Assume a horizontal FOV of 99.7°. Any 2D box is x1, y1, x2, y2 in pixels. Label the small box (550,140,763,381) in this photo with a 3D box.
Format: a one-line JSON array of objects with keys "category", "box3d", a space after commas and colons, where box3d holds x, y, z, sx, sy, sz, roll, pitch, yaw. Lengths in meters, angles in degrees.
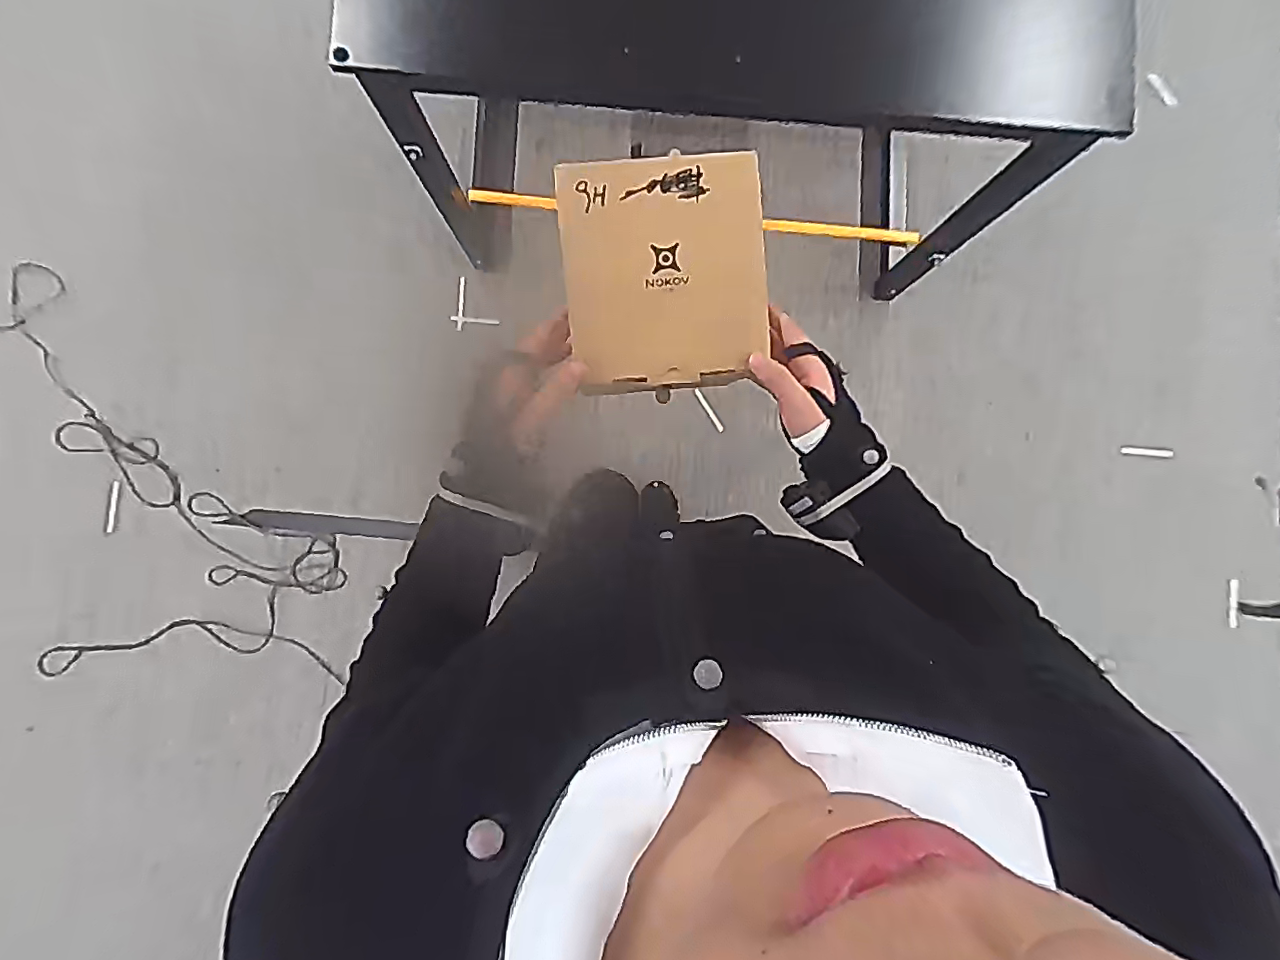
[{"category": "small box", "box3d": [0.014, -0.190, 0.521, 0.168, 0.176, 0.179, -6, 97, -2]}]
